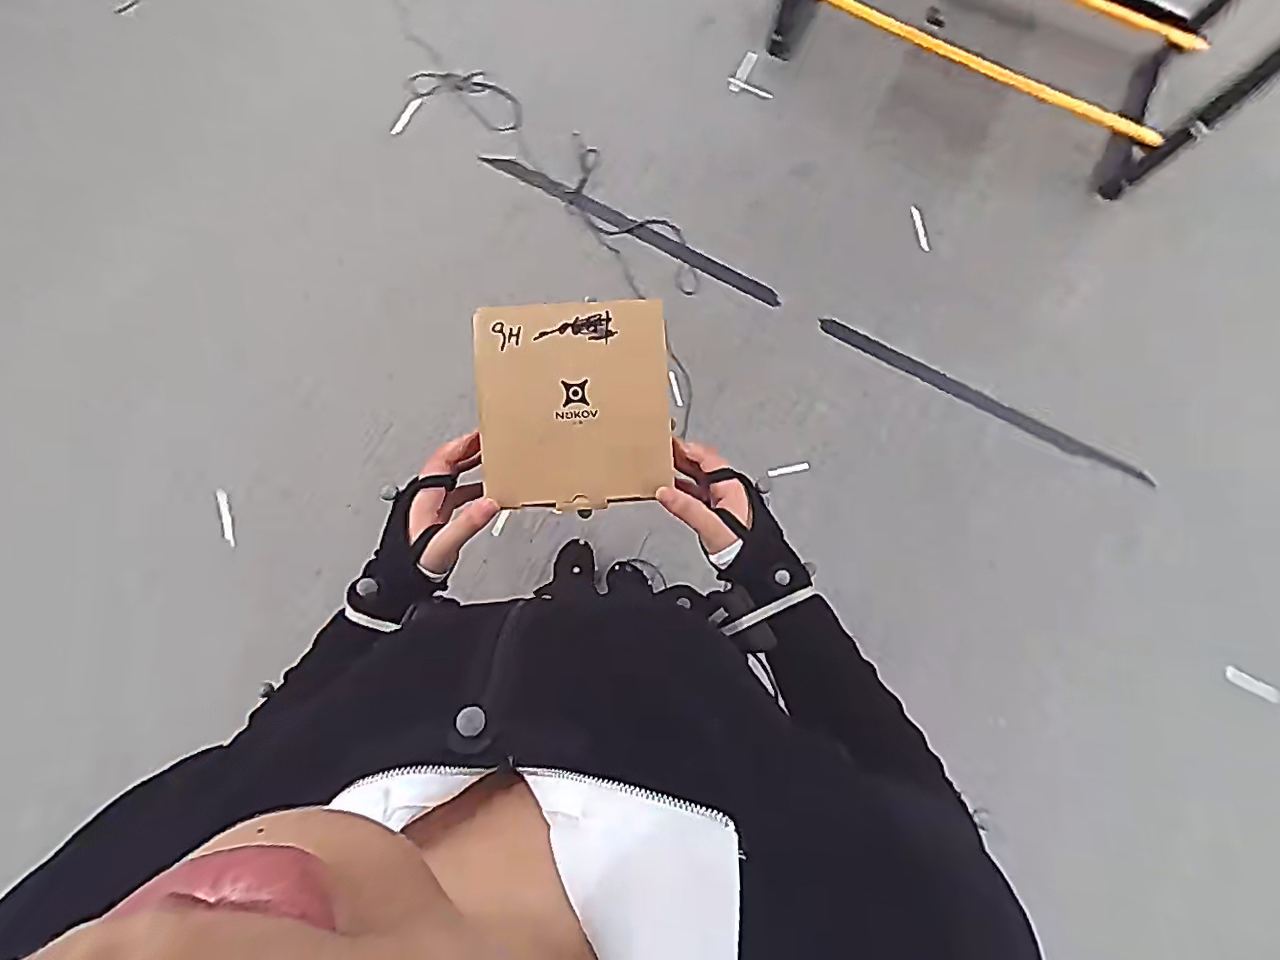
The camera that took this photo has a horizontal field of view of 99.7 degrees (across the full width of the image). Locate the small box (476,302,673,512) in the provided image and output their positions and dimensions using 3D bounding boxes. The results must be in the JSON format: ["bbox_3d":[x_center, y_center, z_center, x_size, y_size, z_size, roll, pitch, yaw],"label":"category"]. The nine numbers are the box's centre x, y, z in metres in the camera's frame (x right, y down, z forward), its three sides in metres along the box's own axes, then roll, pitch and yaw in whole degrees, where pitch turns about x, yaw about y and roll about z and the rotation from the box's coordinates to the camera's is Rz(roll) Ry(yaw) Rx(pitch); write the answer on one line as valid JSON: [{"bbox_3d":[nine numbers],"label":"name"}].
[{"bbox_3d":[-0.058,-0.065,0.540,0.168,0.176,0.179,-3,91,-4],"label":"small box"}]
